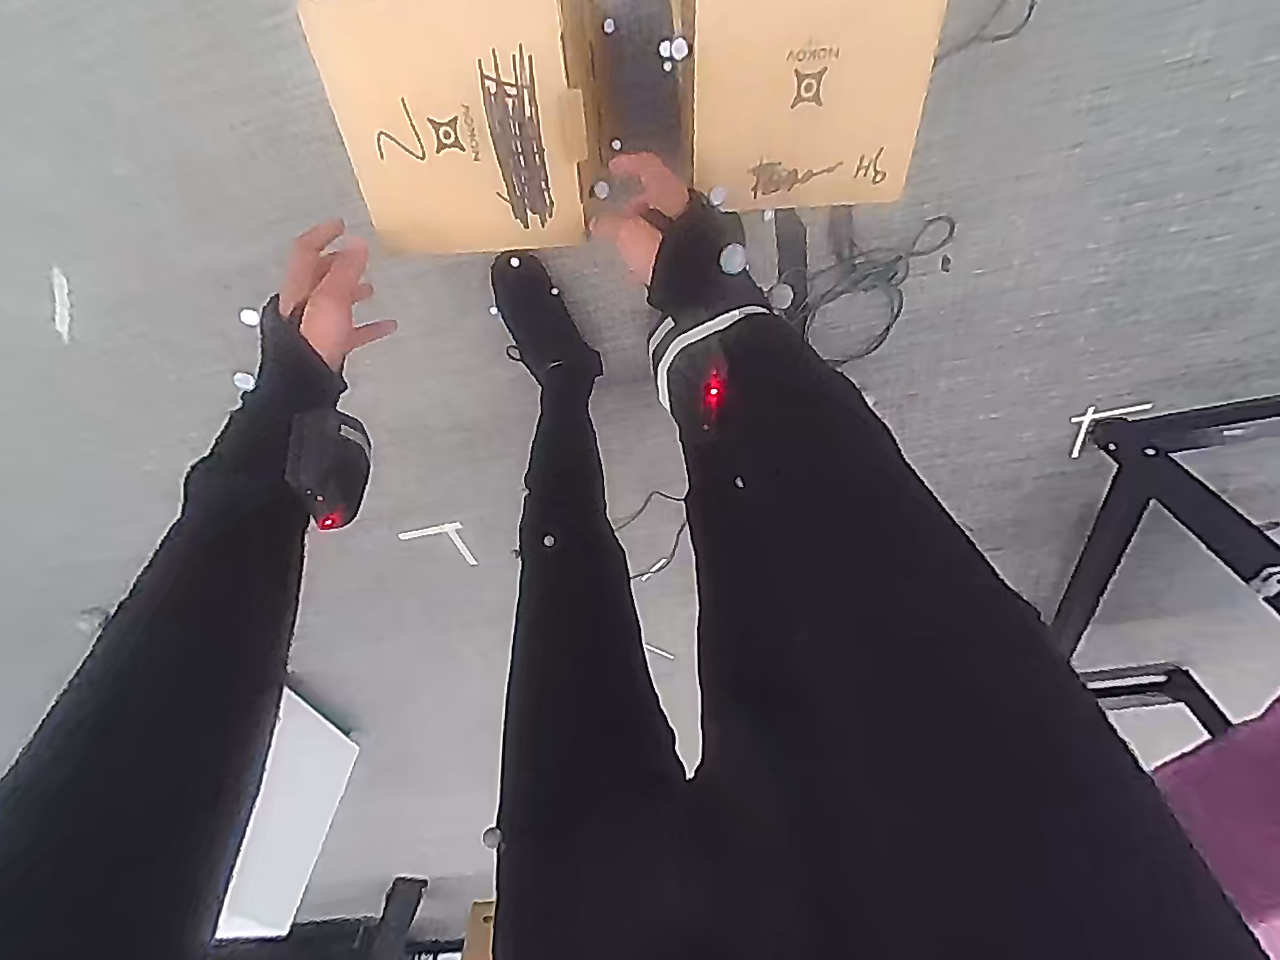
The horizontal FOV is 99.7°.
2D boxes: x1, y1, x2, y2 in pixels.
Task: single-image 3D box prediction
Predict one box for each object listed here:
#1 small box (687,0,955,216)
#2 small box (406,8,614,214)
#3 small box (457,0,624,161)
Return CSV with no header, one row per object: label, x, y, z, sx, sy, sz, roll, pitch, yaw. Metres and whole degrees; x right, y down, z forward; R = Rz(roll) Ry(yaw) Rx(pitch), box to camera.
small box,0.125,-0.330,0.438,0.168,0.176,0.179,-1,129,2
small box,-0.120,-0.403,0.590,0.179,0.176,0.168,-2,130,3
small box,-0.114,-0.520,0.705,0.168,0.176,0.179,-4,130,5
